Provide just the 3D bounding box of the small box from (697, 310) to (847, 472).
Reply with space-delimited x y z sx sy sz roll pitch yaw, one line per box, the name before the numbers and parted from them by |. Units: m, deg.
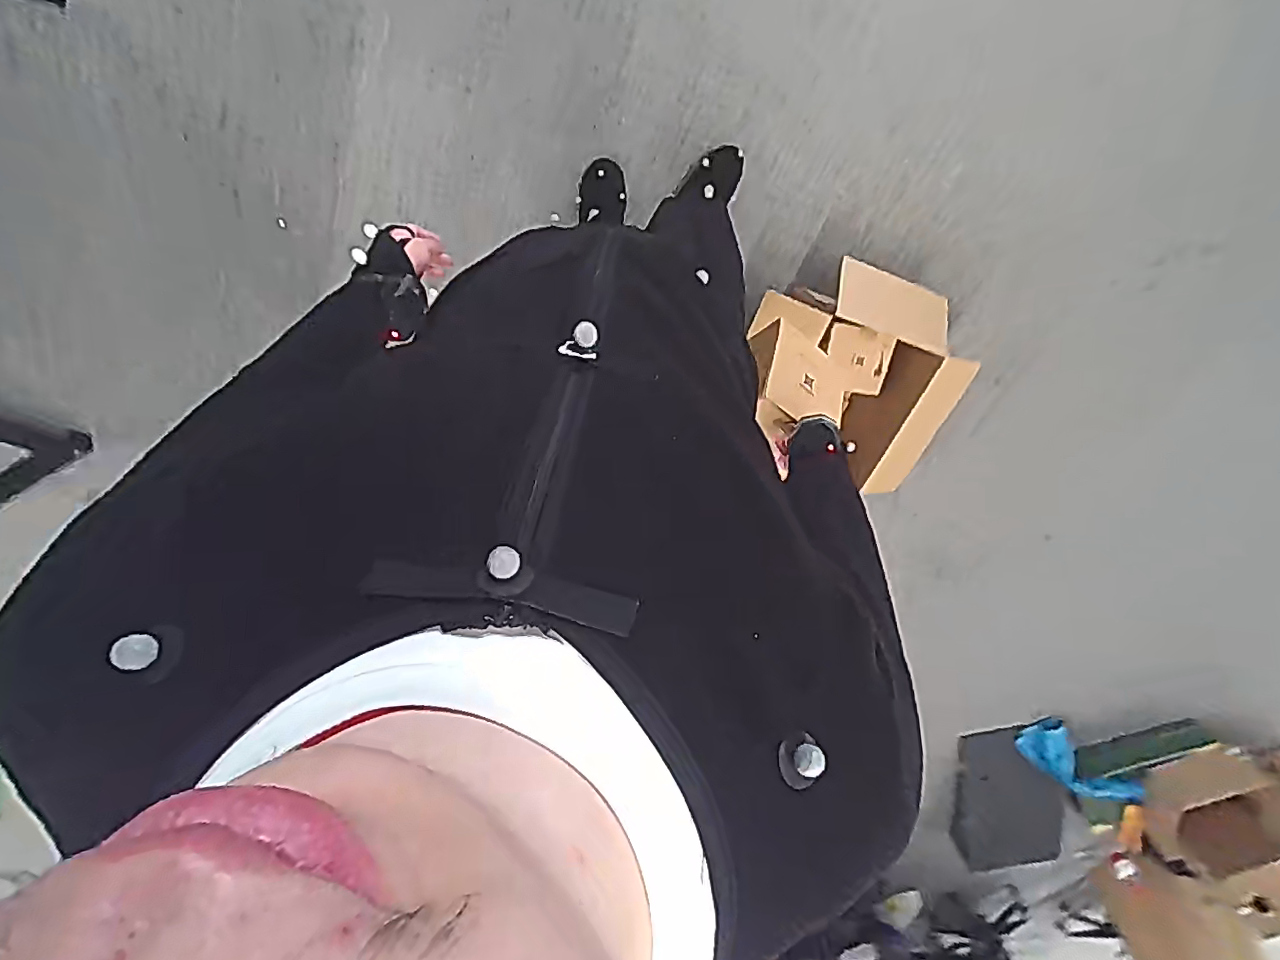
small box | 0.218 -0.137 0.907 0.168 0.179 0.176 32 147 -22
